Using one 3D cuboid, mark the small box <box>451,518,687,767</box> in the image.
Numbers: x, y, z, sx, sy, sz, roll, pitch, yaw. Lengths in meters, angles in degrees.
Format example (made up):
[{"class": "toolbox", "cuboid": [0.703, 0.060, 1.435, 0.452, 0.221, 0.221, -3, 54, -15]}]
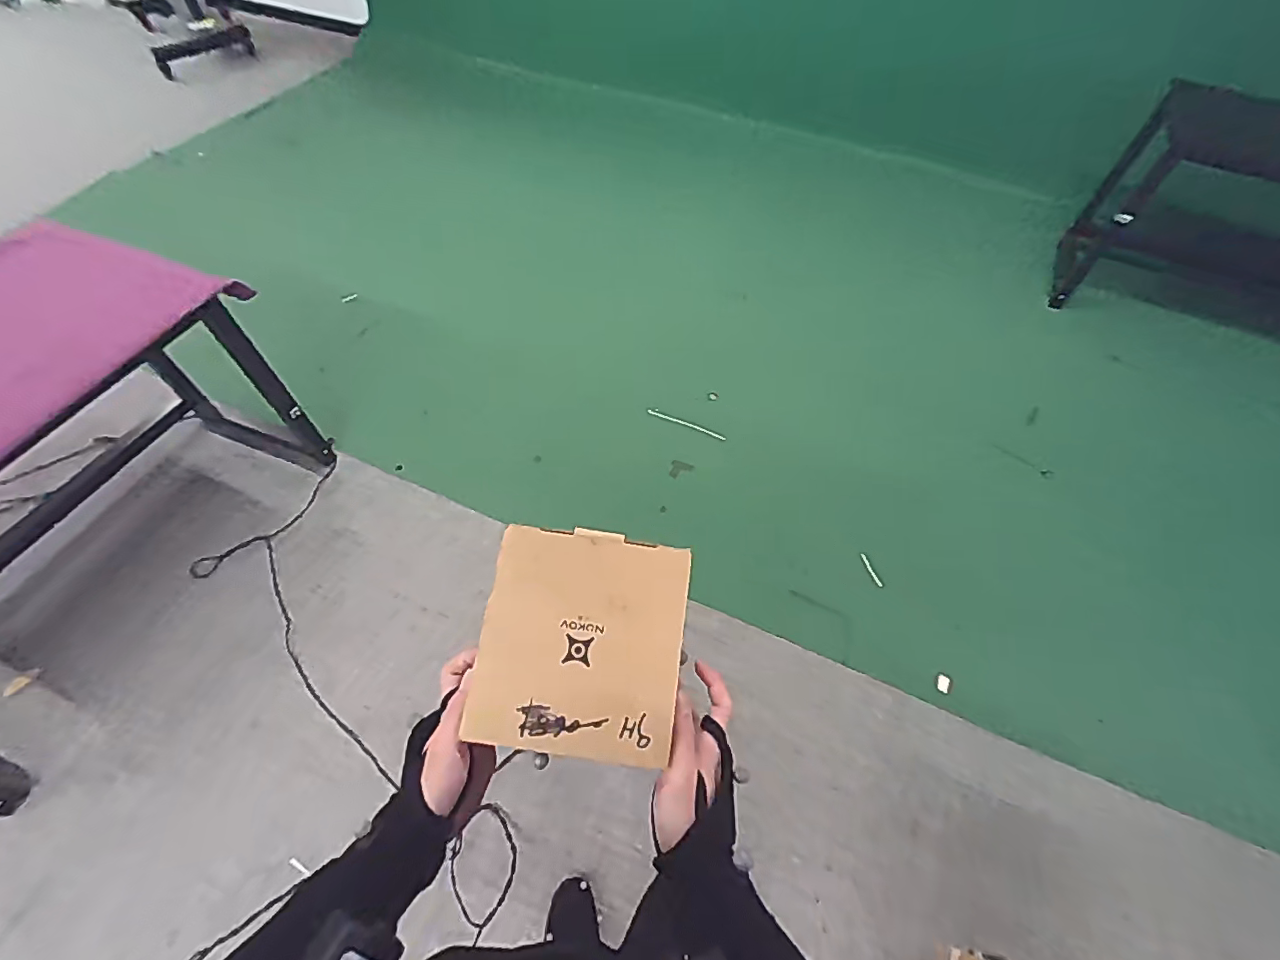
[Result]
[{"class": "small box", "cuboid": [-0.054, 0.152, 0.510, 0.168, 0.176, 0.179, 8, 69, 2]}]
